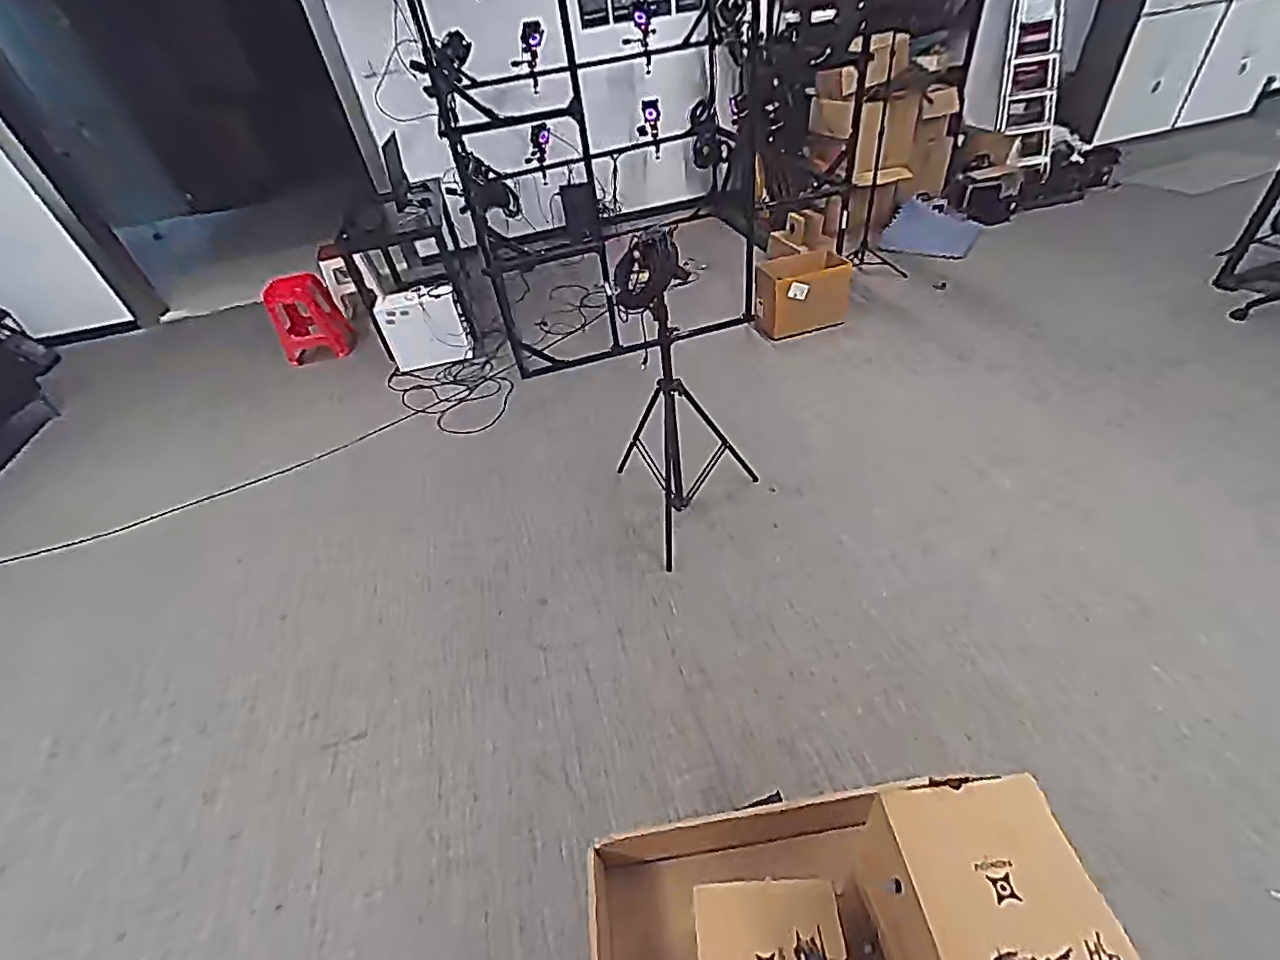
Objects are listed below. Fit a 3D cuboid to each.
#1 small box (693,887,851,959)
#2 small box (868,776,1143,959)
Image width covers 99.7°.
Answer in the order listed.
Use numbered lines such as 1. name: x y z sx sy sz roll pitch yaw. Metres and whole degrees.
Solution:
1. small box: 0.160 0.614 0.654 0.179 0.176 0.168 -6 41 4
2. small box: 0.354 0.441 0.560 0.168 0.176 0.179 -10 40 3
